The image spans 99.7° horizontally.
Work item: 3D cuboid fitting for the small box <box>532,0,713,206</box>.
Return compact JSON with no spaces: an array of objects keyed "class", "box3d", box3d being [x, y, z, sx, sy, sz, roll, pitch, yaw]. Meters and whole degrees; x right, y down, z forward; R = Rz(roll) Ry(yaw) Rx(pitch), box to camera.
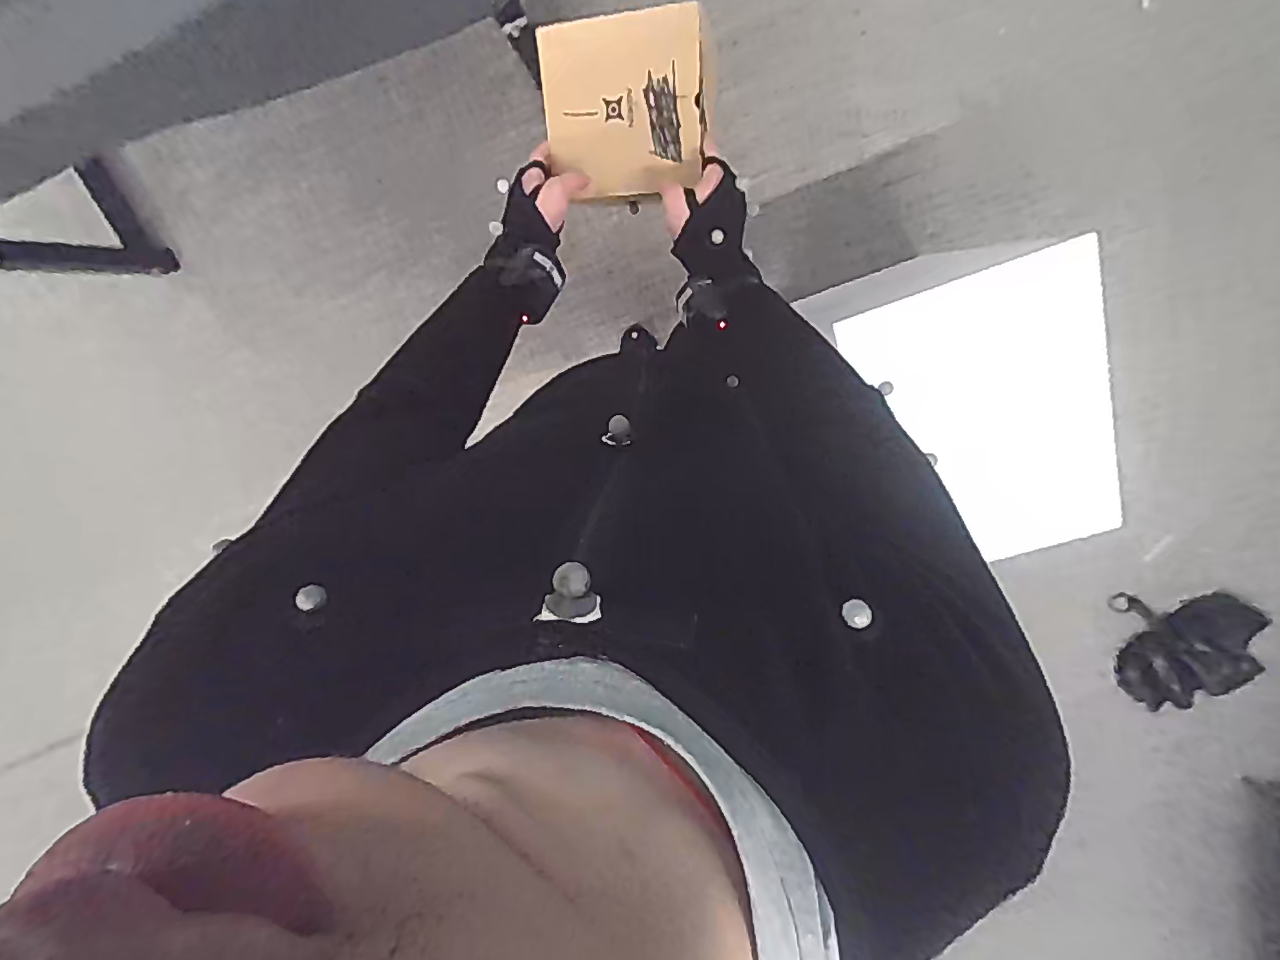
[{"class":"small box","box3d":[-0.006,-0.422,0.634,0.179,0.176,0.168,2,113,12]}]
